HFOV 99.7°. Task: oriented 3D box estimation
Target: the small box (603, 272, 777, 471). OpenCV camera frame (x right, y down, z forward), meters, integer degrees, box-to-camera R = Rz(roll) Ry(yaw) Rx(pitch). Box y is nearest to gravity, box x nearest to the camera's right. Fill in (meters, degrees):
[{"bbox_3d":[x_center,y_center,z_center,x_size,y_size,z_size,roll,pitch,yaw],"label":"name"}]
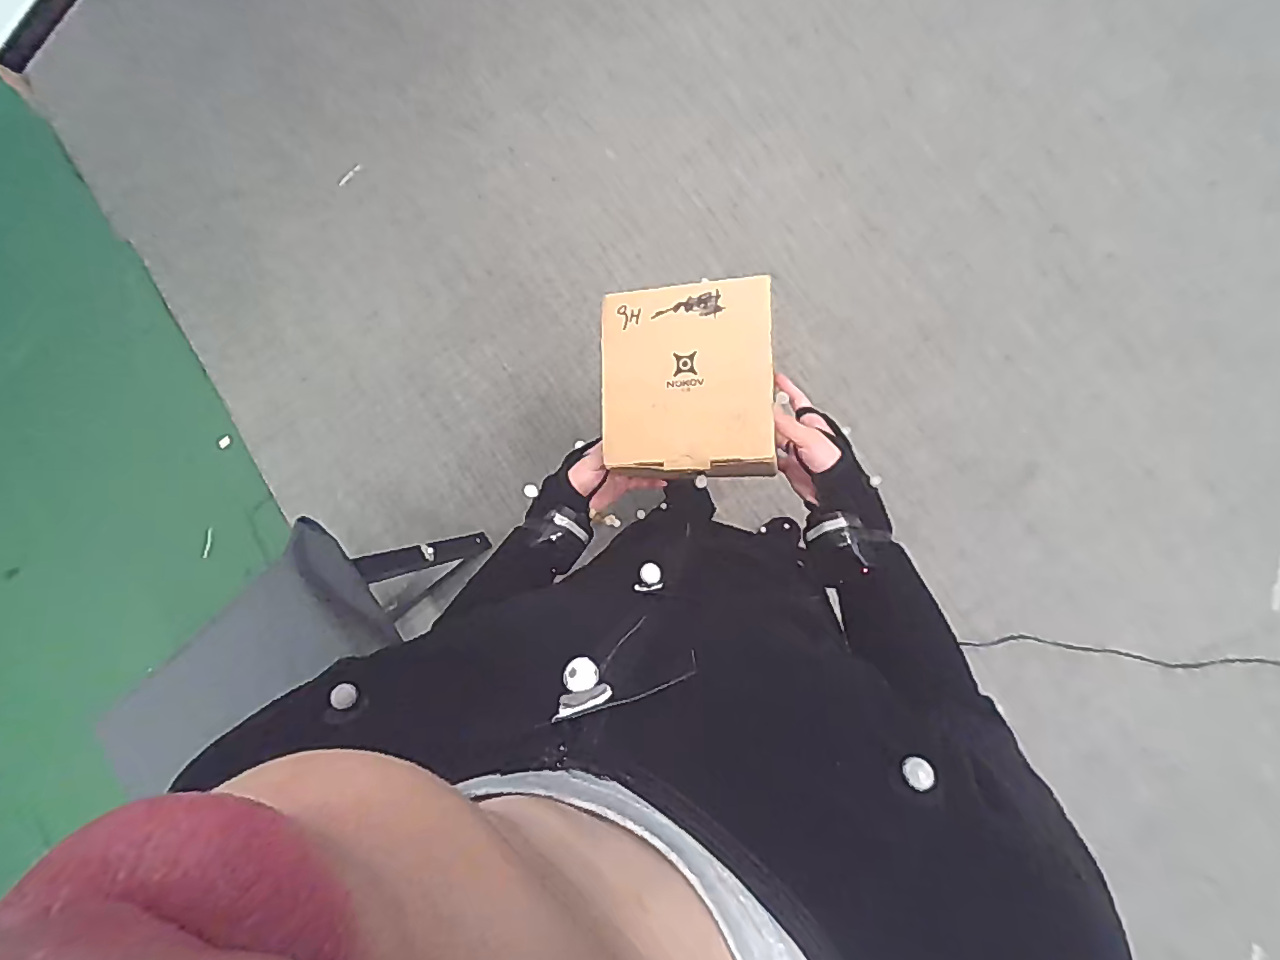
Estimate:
[{"bbox_3d":[0.063,-0.100,0.586,0.168,0.176,0.179,-2,87,13],"label":"small box"}]
